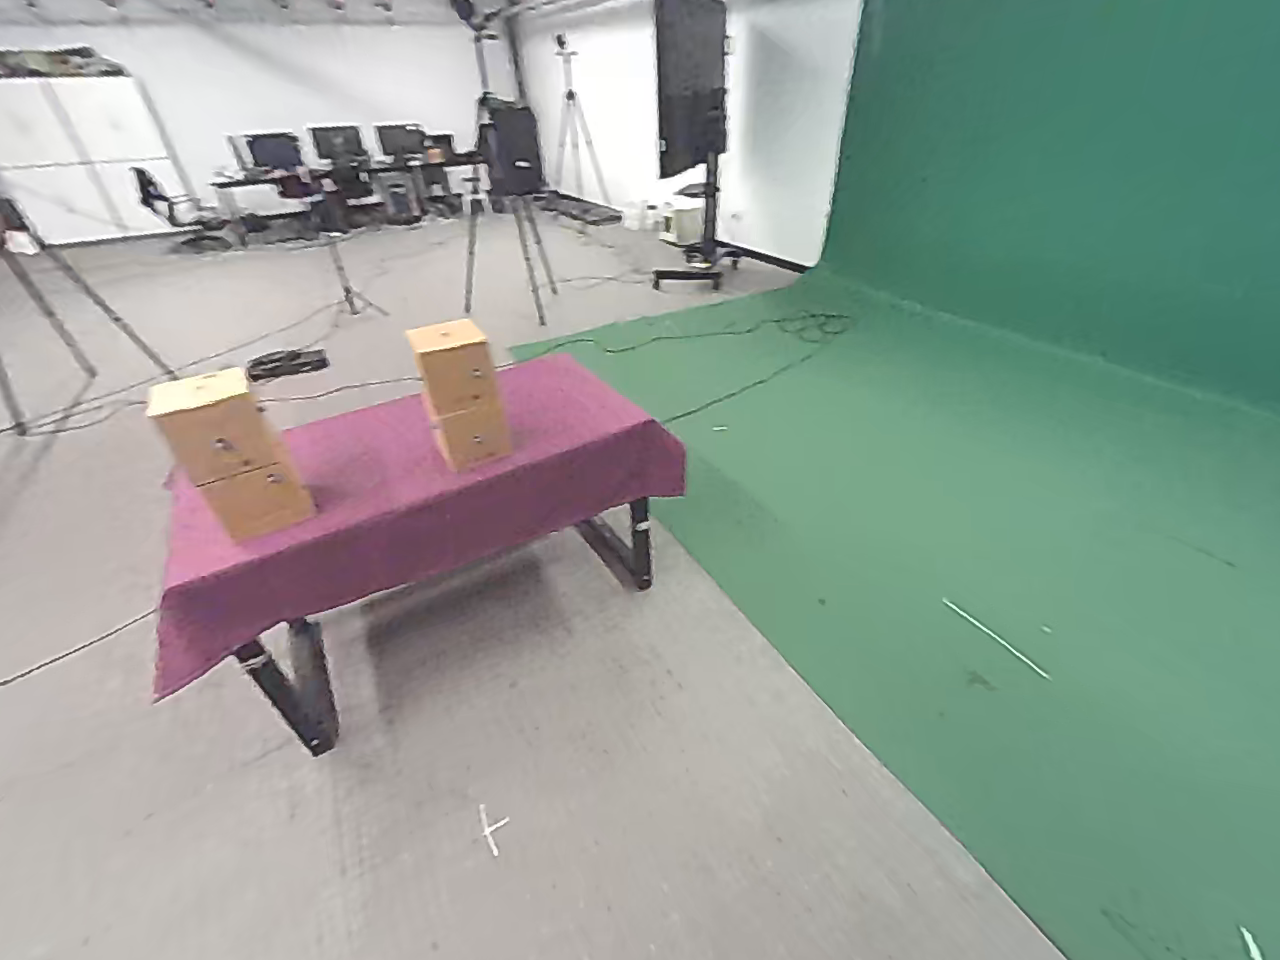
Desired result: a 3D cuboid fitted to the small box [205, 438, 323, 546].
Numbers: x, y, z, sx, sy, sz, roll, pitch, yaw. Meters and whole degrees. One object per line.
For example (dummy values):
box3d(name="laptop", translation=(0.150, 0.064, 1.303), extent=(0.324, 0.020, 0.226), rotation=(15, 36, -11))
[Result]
box3d(name="small box", translation=(-0.881, 0.028, 1.272), extent=(0.179, 0.176, 0.168), rotation=(-22, 39, -26))

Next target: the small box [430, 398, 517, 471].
box3d(name="small box", translation=(-0.448, -0.140, 1.468), extent=(0.168, 0.176, 0.179), rotation=(-21, 39, -23))

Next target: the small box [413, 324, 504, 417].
box3d(name="small box", translation=(-0.459, -0.275, 1.376), extent=(0.168, 0.176, 0.179), rotation=(-19, 38, -21))

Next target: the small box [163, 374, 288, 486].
box3d(name="small box", translation=(-0.894, -0.106, 1.178), extent=(0.168, 0.176, 0.179), rotation=(-22, 40, -26))
